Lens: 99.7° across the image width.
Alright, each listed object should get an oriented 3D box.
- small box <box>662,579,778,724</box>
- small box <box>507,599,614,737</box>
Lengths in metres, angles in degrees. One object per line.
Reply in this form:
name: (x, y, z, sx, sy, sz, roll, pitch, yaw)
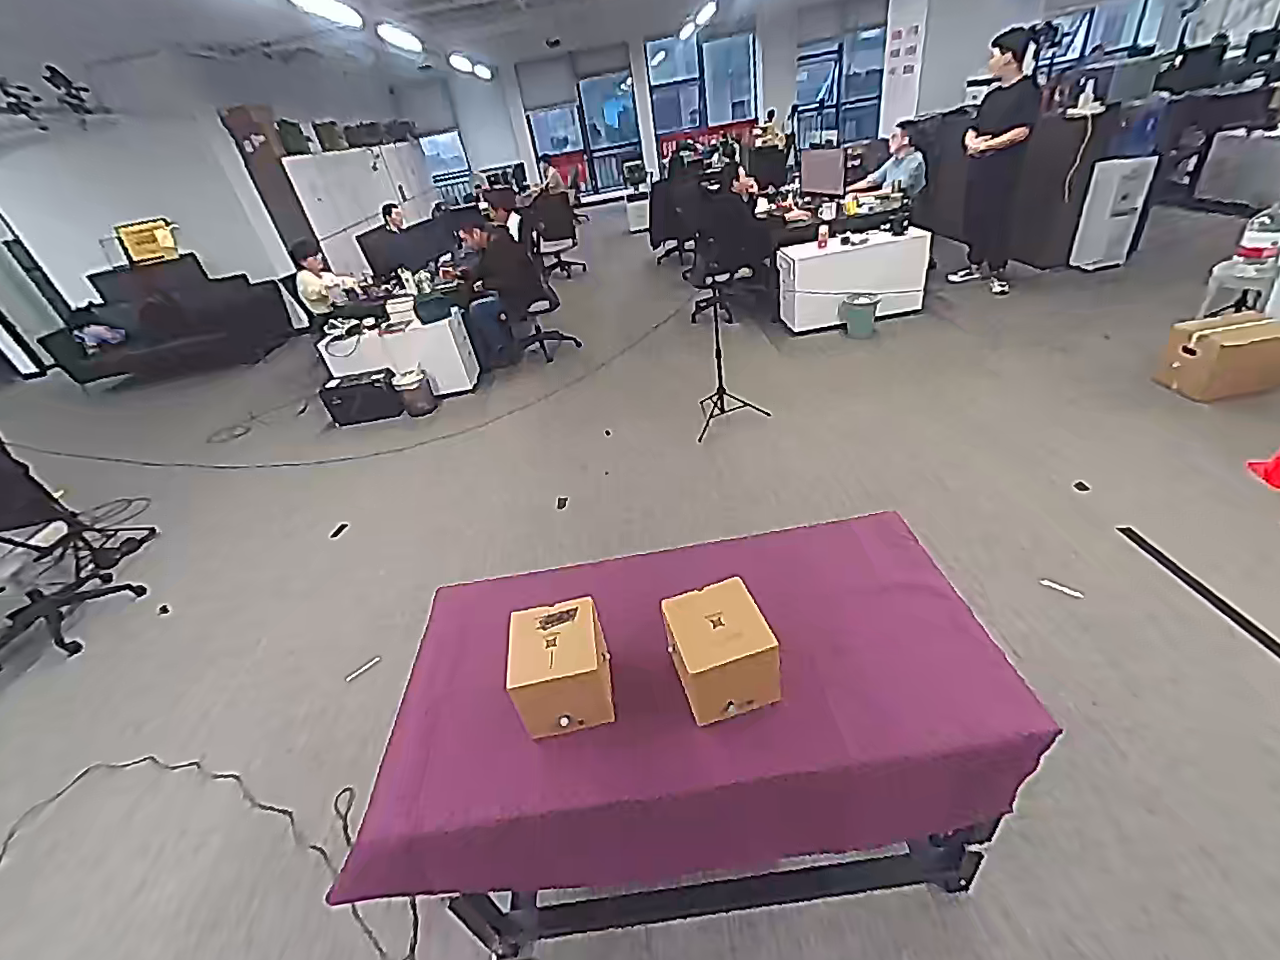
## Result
small box: (0.151, 0.326, 1.036, 0.168, 0.176, 0.179, -17, 34, -7)
small box: (-0.151, 0.367, 1.060, 0.168, 0.176, 0.179, -12, 35, -1)
